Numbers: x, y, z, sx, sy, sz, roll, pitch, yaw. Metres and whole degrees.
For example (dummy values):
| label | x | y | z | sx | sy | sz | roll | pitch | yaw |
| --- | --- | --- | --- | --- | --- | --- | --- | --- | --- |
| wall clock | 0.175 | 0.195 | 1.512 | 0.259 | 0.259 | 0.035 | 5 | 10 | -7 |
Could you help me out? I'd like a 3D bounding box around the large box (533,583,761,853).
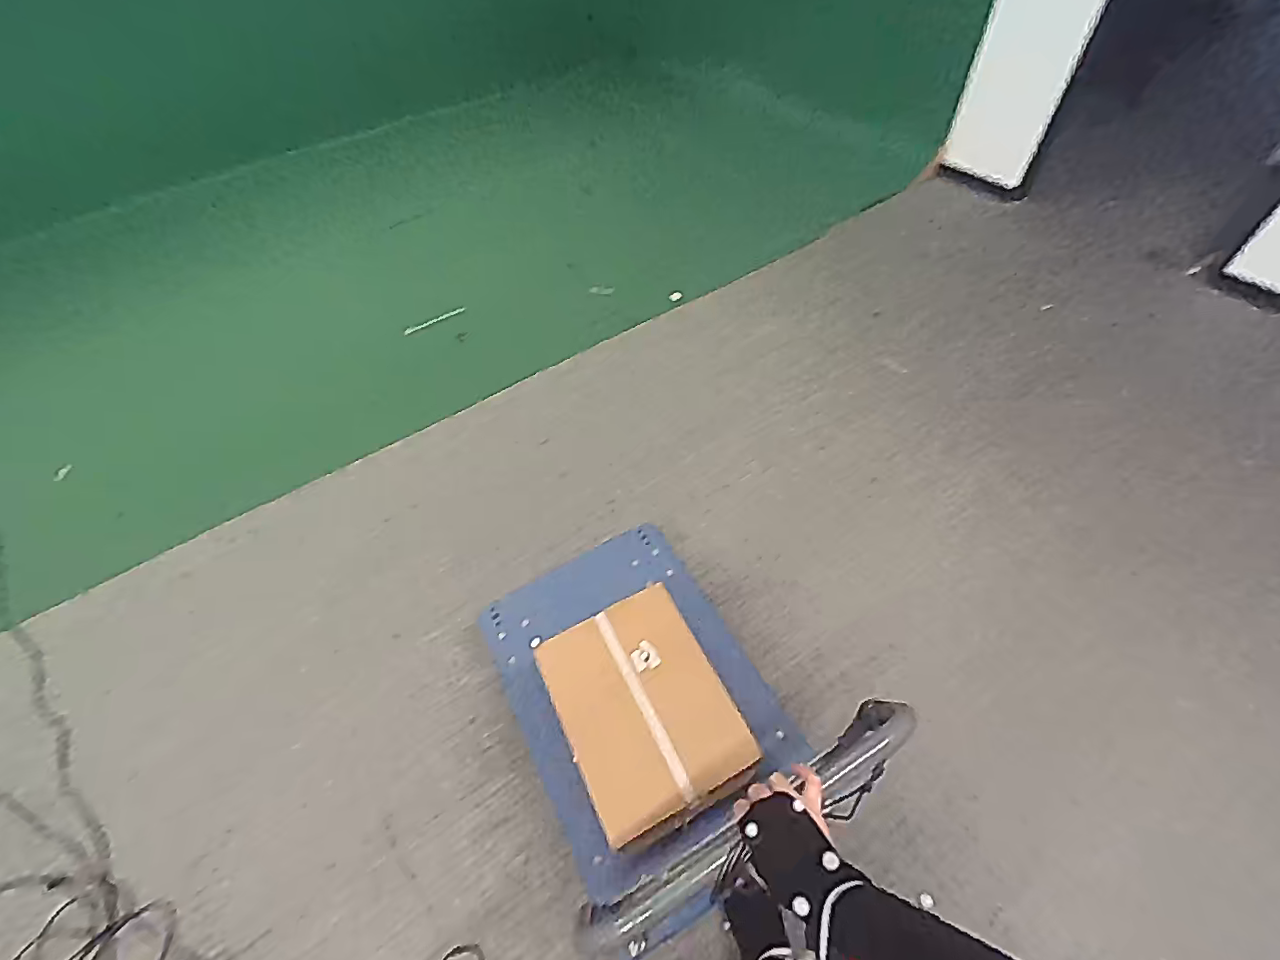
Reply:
| label | x | y | z | sx | sy | sz | roll | pitch | yaw |
| --- | --- | --- | --- | --- | --- | --- | --- | --- | --- |
| large box | 0.013 | 0.513 | 1.177 | 0.320 | 0.320 | 0.408 | -24 | 55 | -13 |
